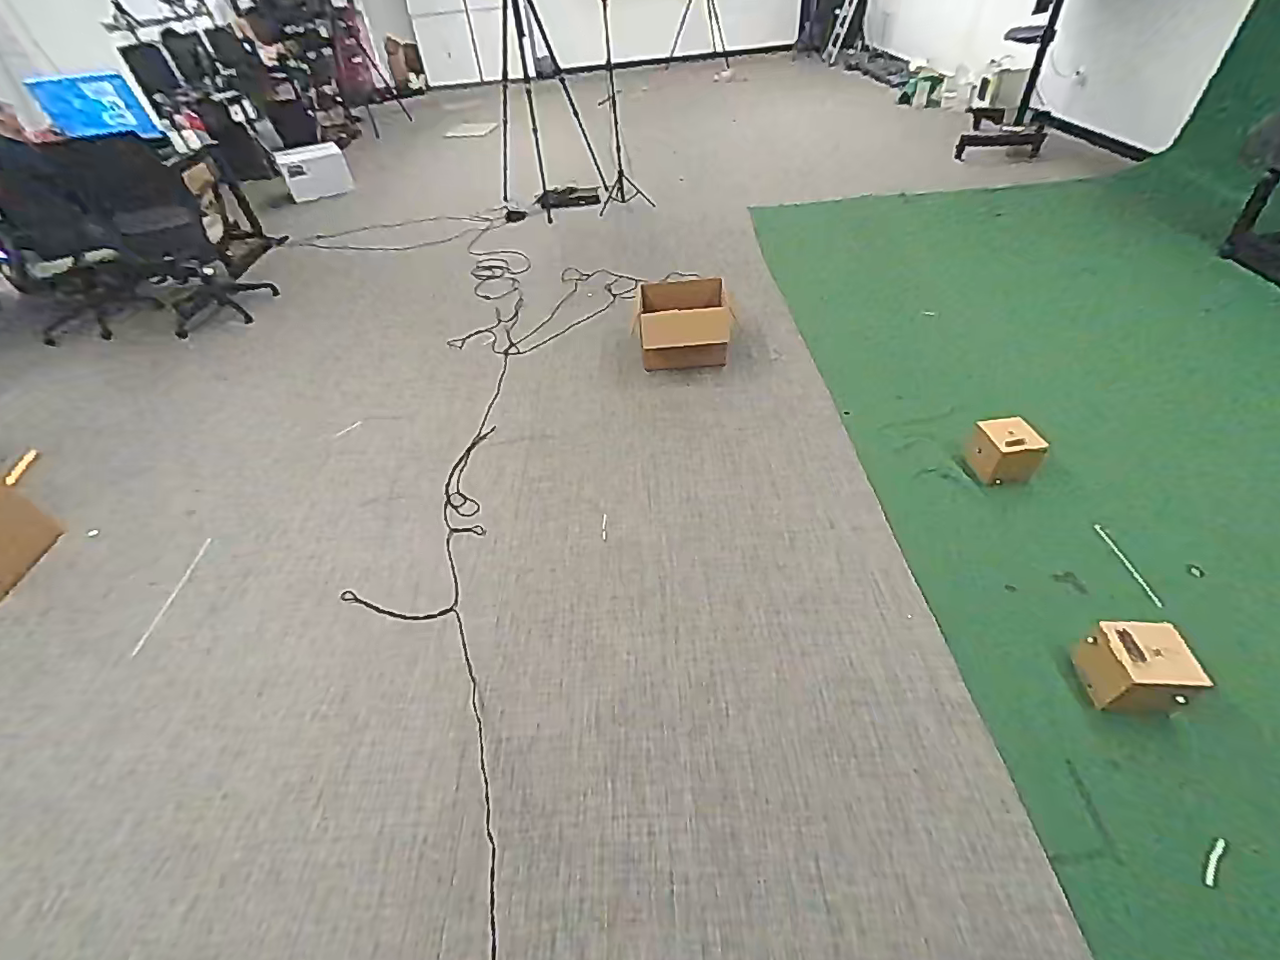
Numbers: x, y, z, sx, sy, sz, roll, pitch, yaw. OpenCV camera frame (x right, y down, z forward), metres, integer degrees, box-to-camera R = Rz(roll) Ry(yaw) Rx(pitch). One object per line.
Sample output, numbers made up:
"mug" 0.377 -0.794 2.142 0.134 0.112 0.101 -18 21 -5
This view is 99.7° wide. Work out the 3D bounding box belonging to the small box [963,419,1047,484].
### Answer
"small box" 1.311 -0.097 1.955 0.168 0.176 0.179 -6 43 0
